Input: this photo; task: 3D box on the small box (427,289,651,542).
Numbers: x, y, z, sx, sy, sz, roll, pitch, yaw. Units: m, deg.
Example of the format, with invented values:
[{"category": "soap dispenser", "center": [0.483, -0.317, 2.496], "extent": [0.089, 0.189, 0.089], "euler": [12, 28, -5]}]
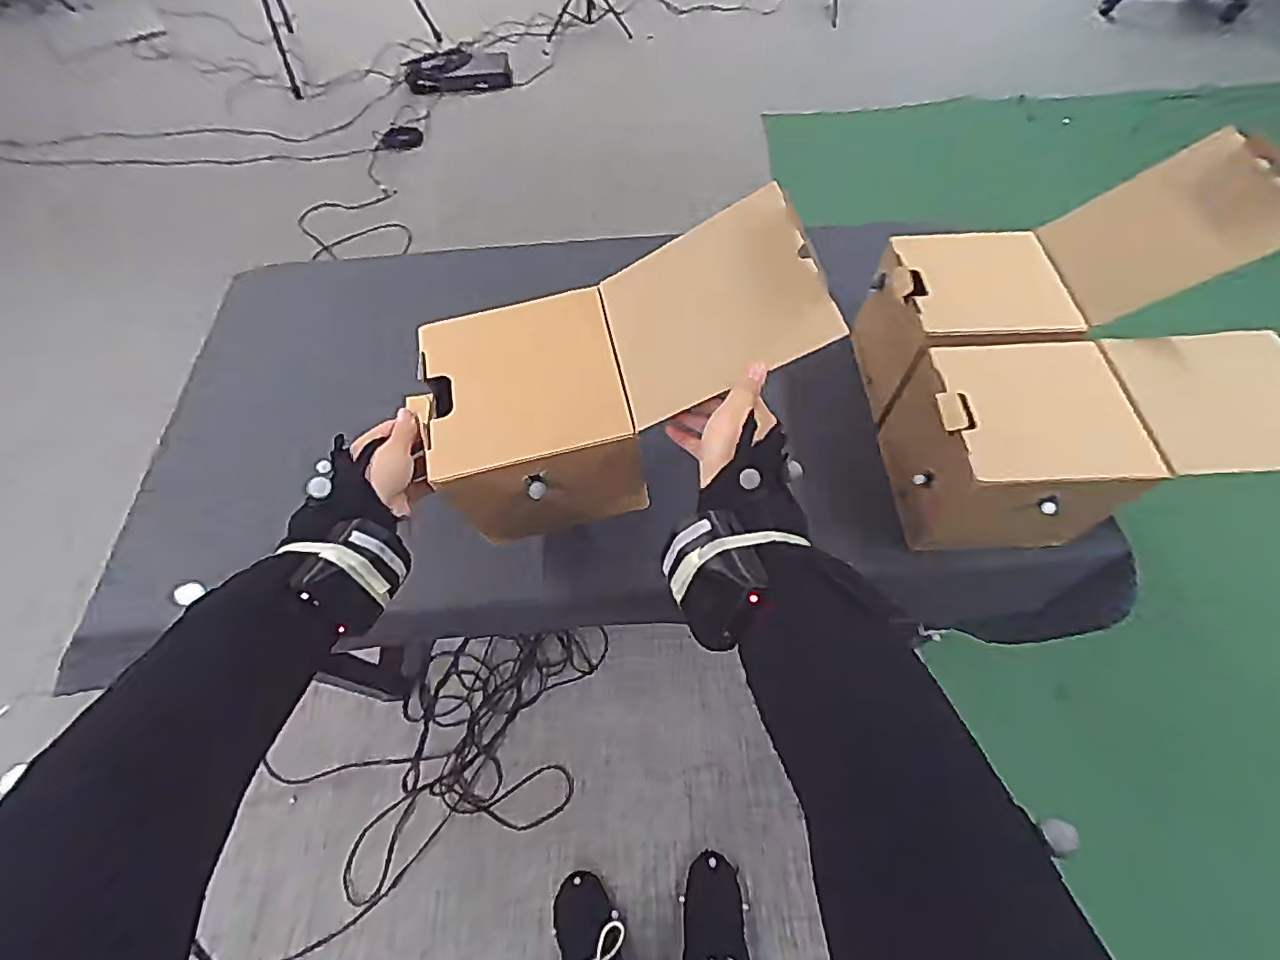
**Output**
[{"category": "small box", "center": [-0.088, -0.053, 0.537], "extent": [0.179, 0.176, 0.168], "euler": [-13, 65, 0]}]
